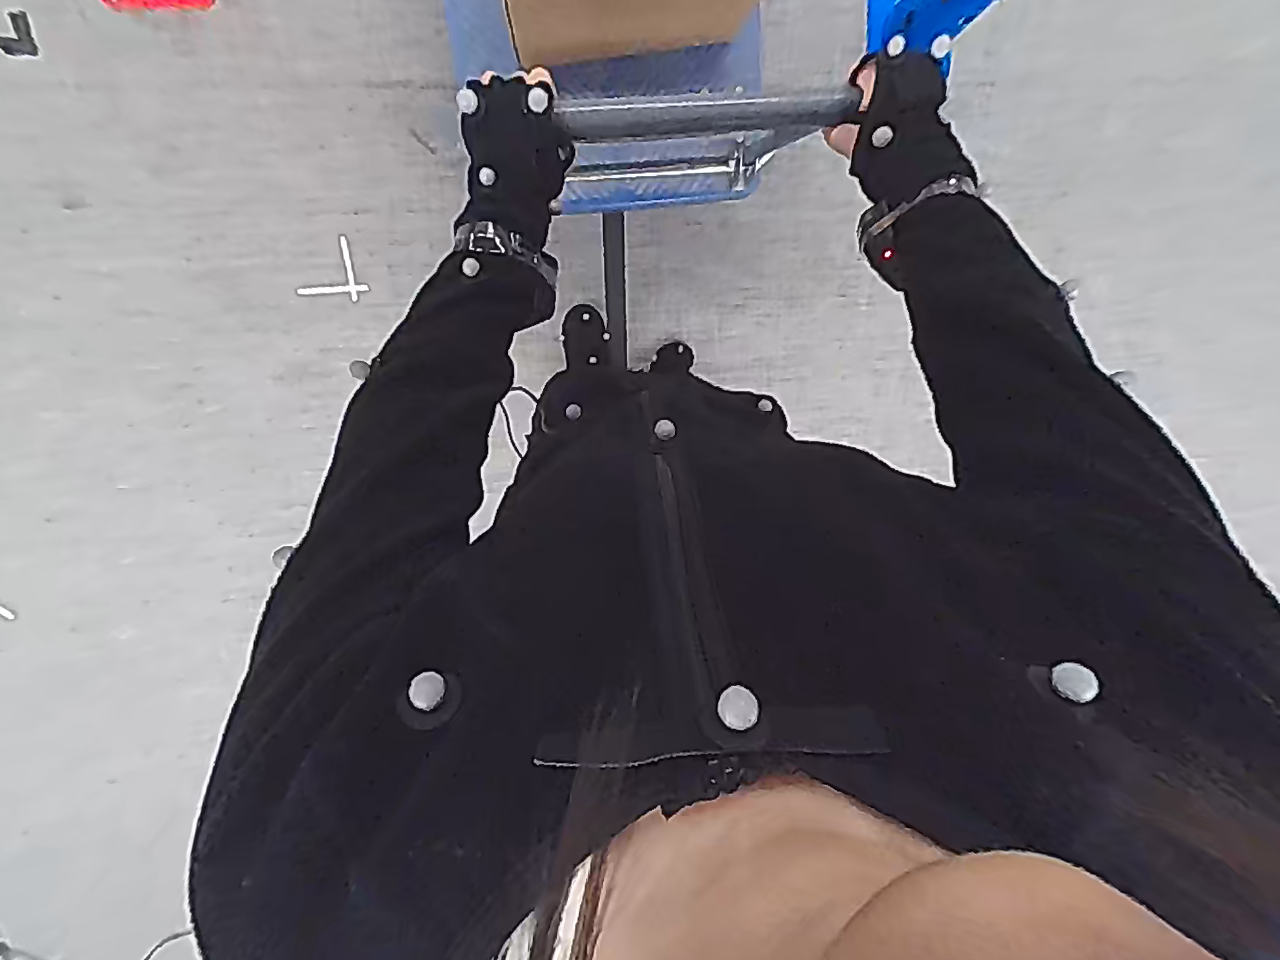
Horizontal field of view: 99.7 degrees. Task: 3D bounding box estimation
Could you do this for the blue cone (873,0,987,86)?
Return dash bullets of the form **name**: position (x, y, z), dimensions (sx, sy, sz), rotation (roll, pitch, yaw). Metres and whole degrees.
- **blue cone**: position (0.633, -0.949, 1.056), dimensions (0.193, 0.380, 0.192), rotation (-8, 109, -6)
